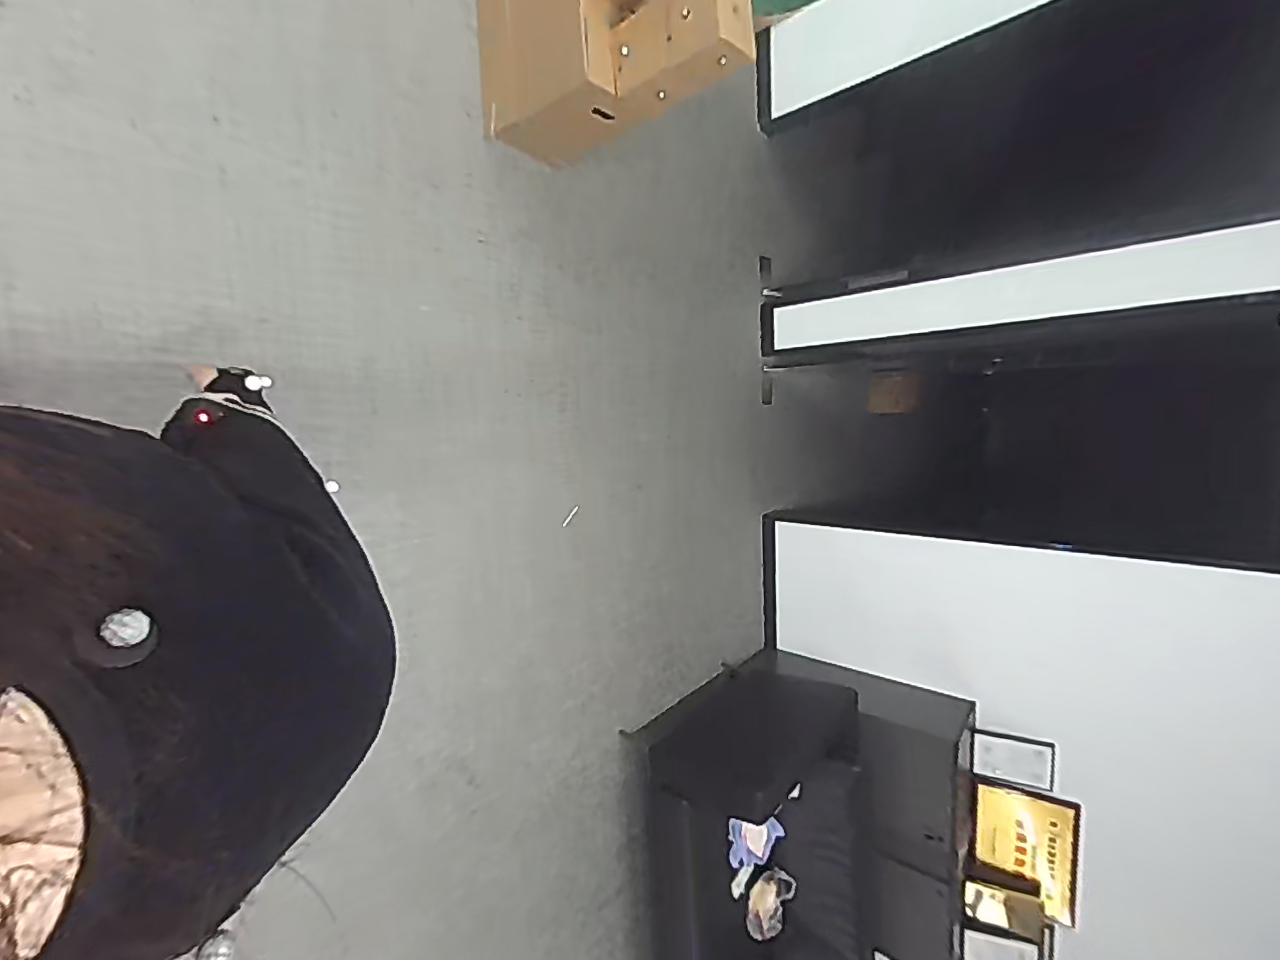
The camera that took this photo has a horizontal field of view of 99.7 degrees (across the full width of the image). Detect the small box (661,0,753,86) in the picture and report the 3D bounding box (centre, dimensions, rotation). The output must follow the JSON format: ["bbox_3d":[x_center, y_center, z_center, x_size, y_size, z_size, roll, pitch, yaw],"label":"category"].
[{"bbox_3d":[0.164,-1.142,1.368,0.179,0.176,0.168,-19,107,-48],"label":"small box"}]
